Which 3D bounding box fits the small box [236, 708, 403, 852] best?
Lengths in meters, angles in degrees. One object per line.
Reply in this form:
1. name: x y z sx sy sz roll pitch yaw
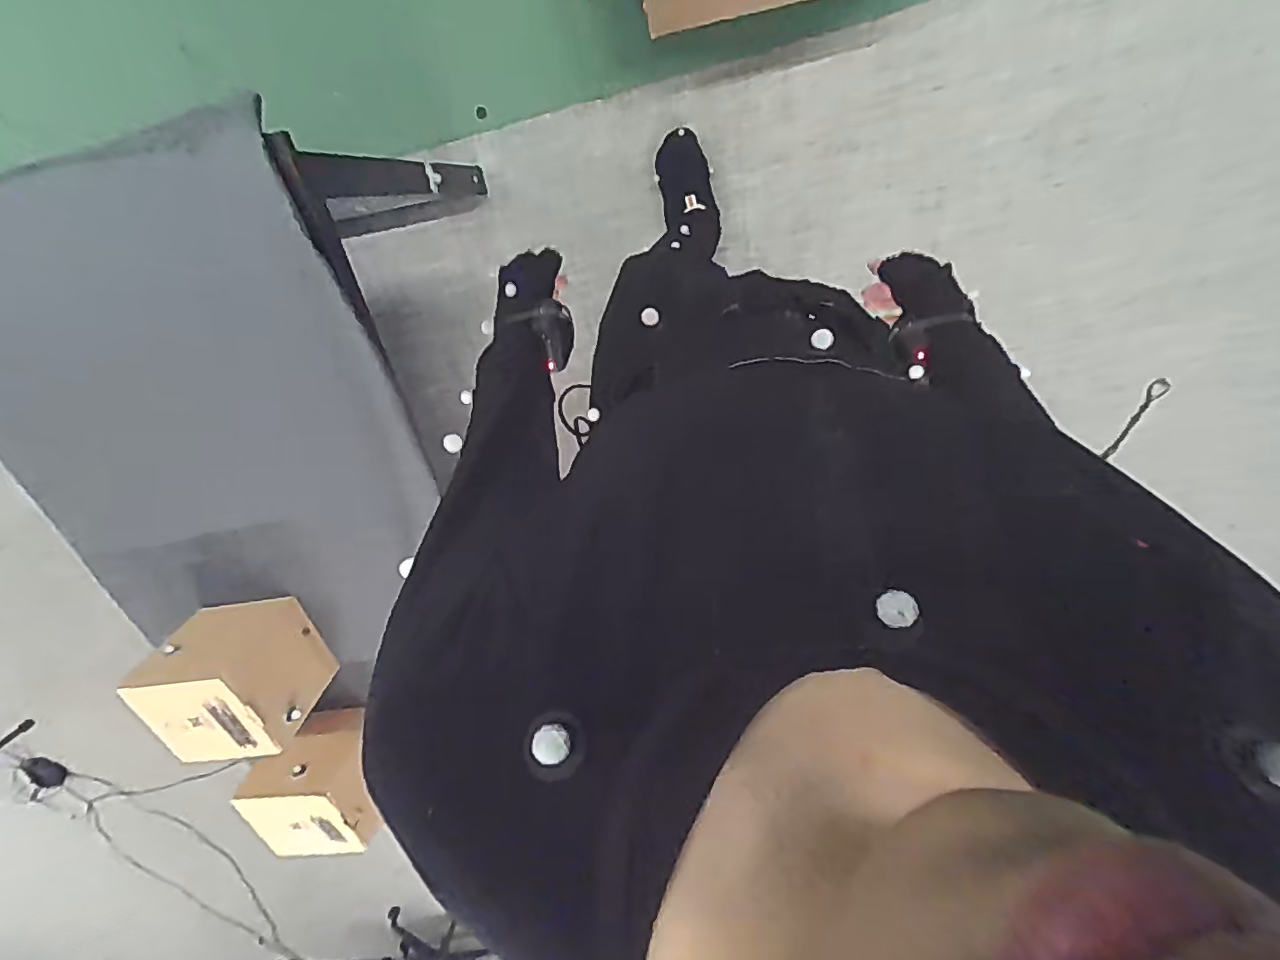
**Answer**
1. small box: -0.555 0.532 0.971 0.179 0.176 0.168 -7 117 8
